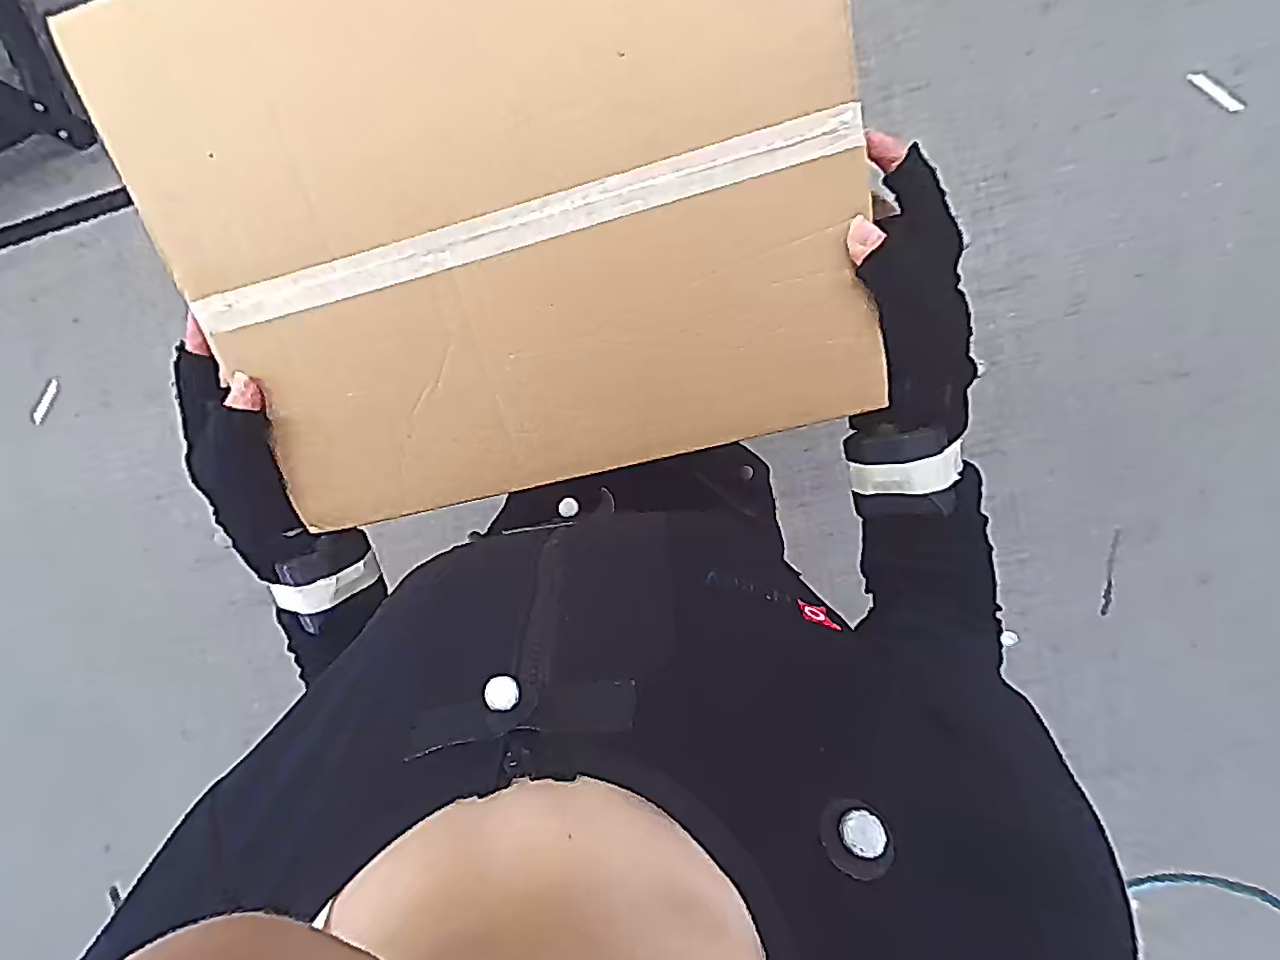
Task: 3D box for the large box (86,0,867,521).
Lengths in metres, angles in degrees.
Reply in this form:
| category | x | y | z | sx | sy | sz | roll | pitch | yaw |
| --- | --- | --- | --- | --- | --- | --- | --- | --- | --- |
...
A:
| category | x | y | z | sx | sy | sz | roll | pitch | yaw |
| --- | --- | --- | --- | --- | --- | --- | --- | --- | --- |
| large box | -0.073 | -0.205 | 0.462 | 0.408 | 0.320 | 0.320 | -12 | 109 | 8 |
